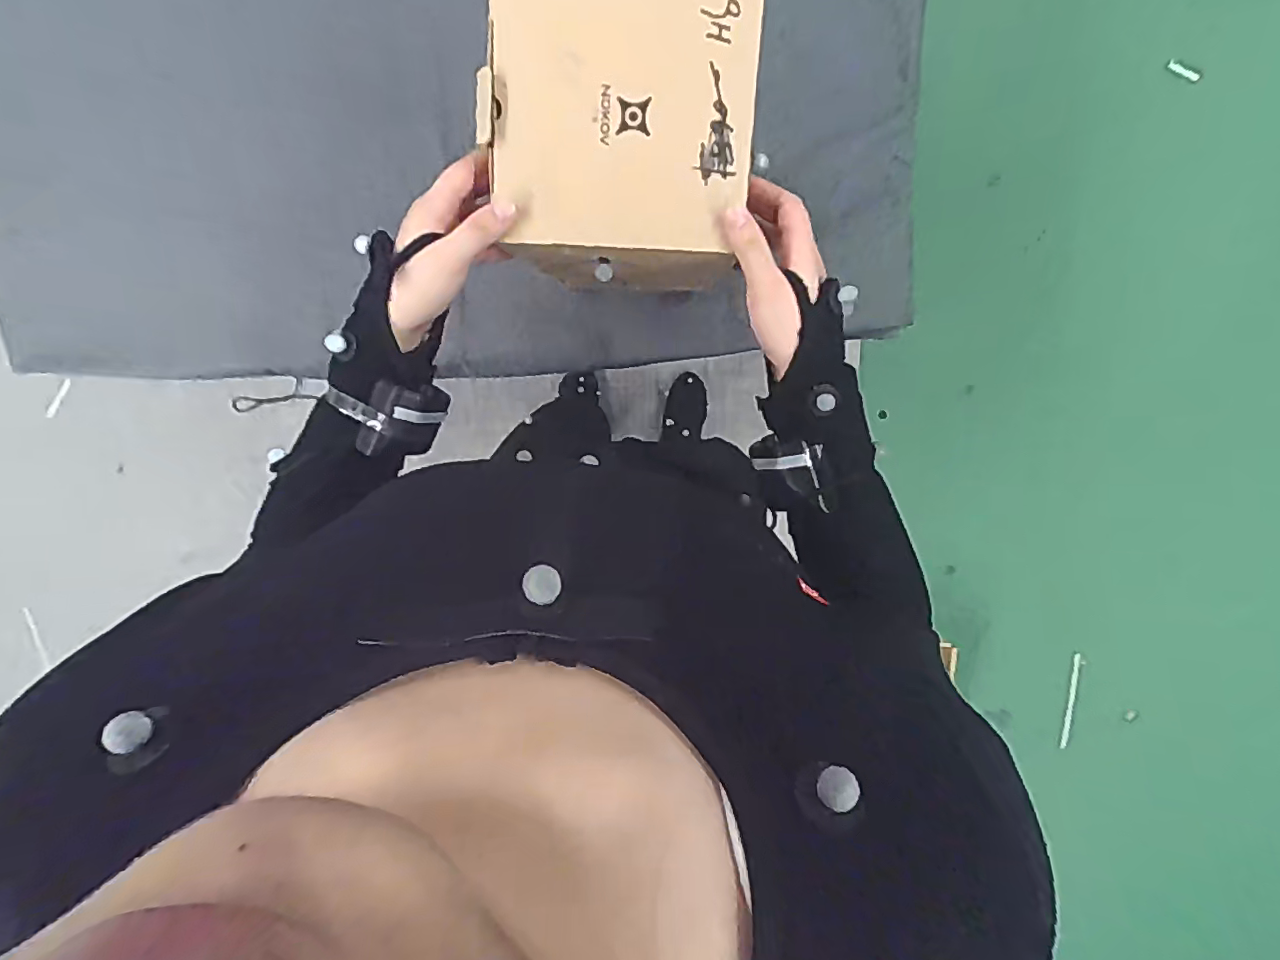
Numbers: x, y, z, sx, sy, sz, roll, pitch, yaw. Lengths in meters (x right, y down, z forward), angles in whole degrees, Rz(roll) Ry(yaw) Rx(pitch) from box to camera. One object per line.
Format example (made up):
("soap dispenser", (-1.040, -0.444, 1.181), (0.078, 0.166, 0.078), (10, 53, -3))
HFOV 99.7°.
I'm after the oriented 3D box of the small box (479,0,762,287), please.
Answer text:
("small box", (-0.011, -0.250, 0.422), (0.179, 0.176, 0.168), (4, 103, 2))
